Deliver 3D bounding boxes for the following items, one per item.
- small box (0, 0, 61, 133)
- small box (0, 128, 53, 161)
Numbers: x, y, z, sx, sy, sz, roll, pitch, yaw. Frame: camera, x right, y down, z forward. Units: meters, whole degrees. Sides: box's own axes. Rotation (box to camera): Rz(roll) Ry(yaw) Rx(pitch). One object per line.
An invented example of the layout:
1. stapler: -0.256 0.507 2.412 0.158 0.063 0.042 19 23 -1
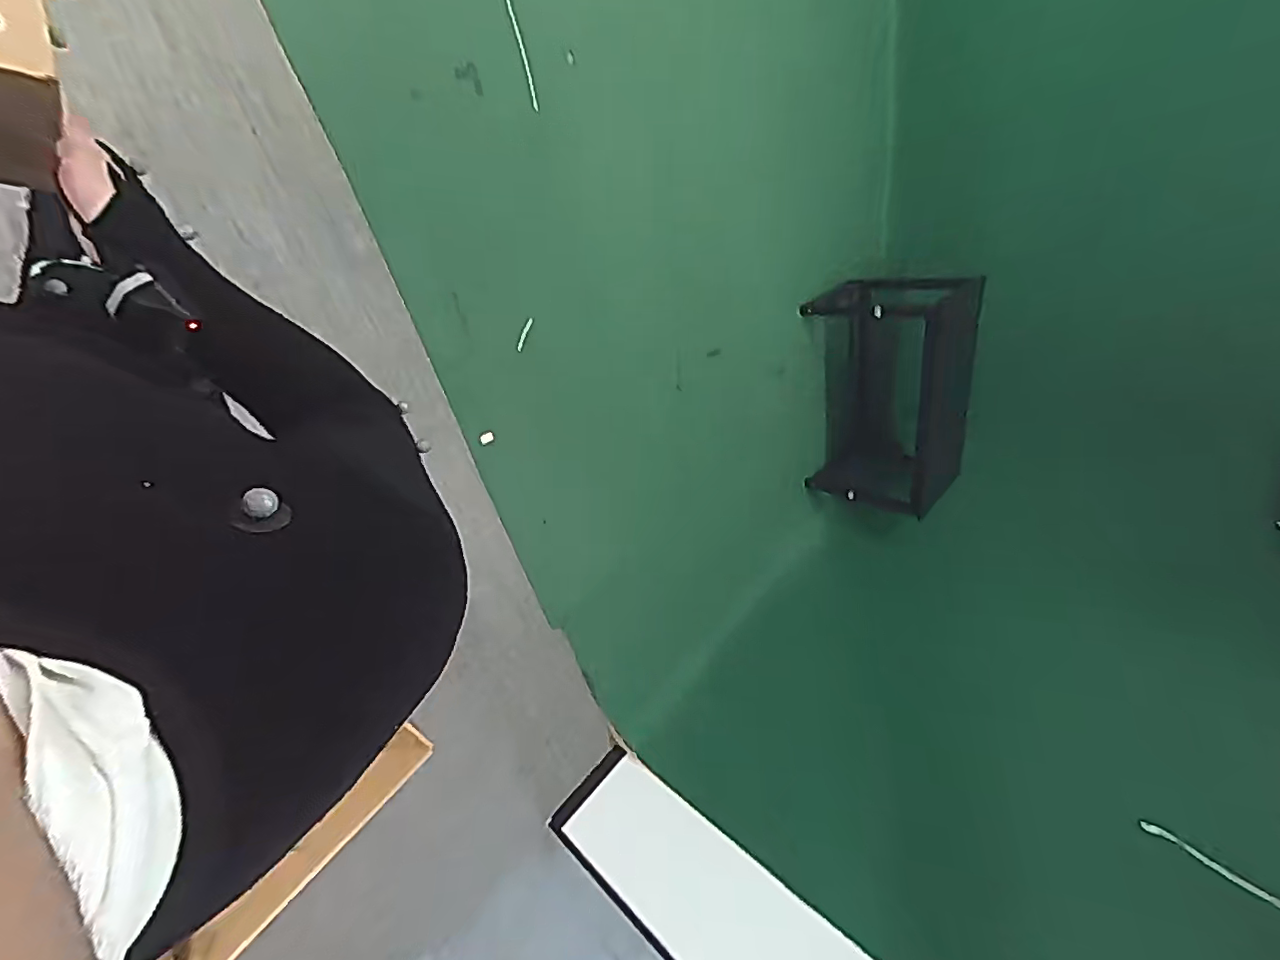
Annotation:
1. small box: -0.391 -0.285 0.235 0.168 0.176 0.179 -13 113 -43
2. small box: -0.508 -0.325 0.342 0.168 0.176 0.179 -12 112 -44
